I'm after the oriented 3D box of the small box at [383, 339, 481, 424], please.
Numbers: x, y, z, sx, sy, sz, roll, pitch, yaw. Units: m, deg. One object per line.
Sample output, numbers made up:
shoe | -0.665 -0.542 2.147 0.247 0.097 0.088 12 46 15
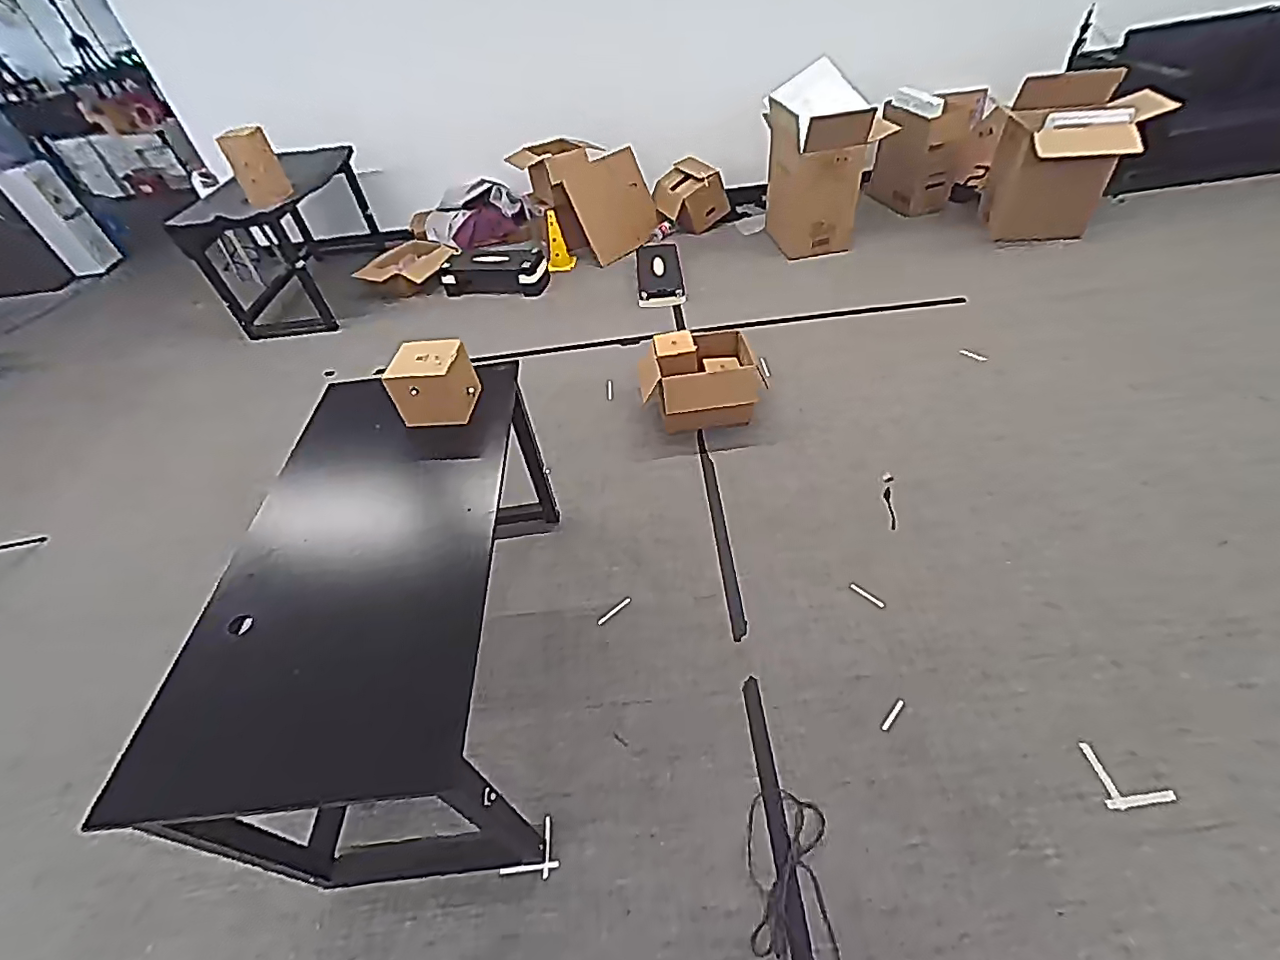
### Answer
small box | -0.563 -0.267 1.487 0.179 0.176 0.168 -2 47 6
